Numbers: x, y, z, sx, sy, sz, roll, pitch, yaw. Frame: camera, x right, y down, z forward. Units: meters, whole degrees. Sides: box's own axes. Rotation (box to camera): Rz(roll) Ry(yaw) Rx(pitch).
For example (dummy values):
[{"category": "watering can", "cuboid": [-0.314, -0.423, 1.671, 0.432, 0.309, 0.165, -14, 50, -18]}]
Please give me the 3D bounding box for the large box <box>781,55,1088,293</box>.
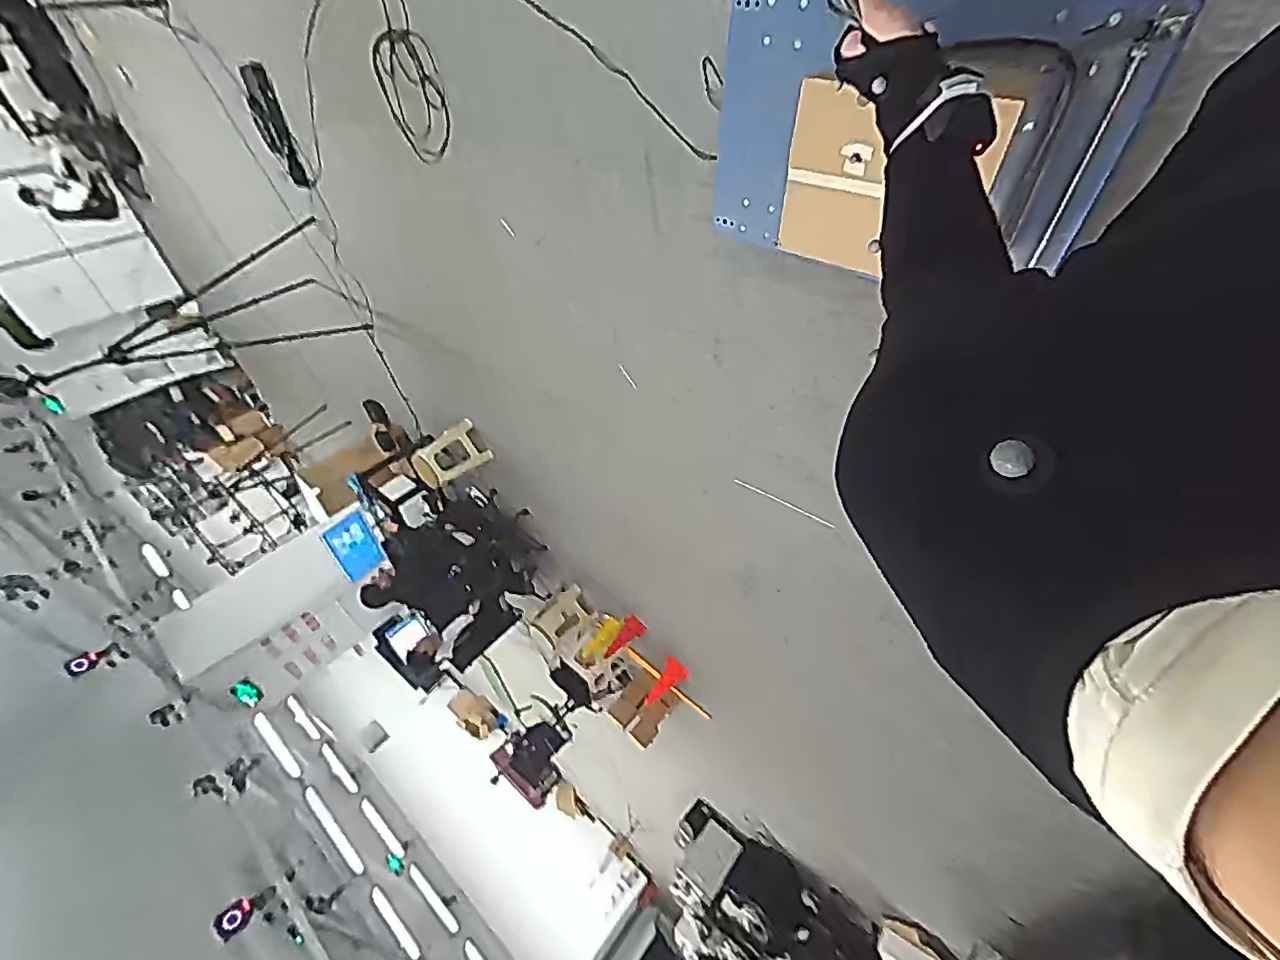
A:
[{"category": "large box", "cuboid": [0.555, -0.622, 1.074, 0.408, 0.320, 0.320, 31, 143, 28]}]
